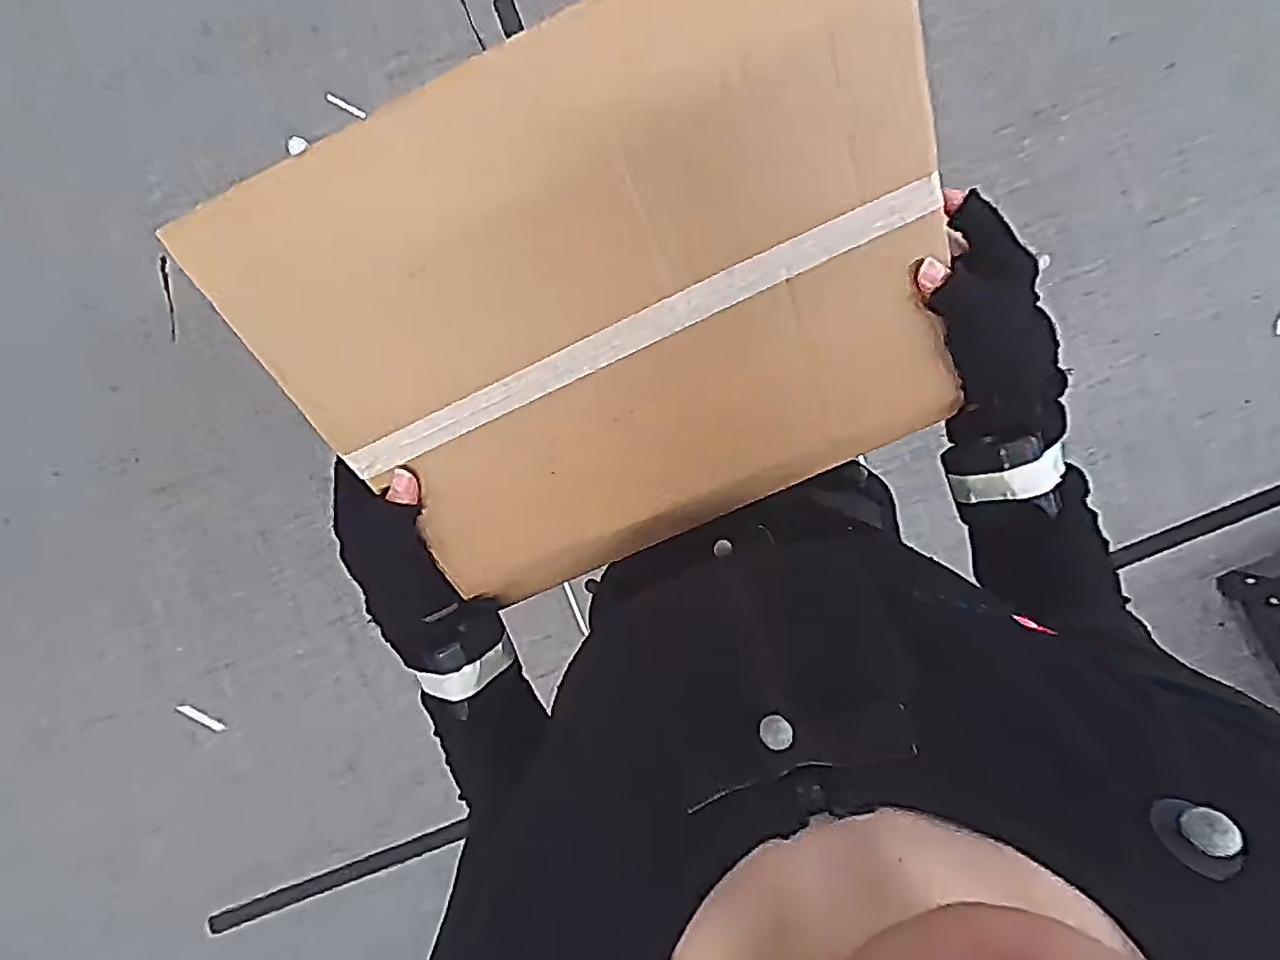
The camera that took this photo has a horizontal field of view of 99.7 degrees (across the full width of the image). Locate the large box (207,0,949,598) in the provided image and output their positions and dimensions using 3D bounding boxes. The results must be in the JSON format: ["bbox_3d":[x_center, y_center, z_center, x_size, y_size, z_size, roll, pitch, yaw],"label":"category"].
[{"bbox_3d":[-0.025,-0.170,0.481,0.408,0.320,0.320,-24,121,6],"label":"large box"}]
